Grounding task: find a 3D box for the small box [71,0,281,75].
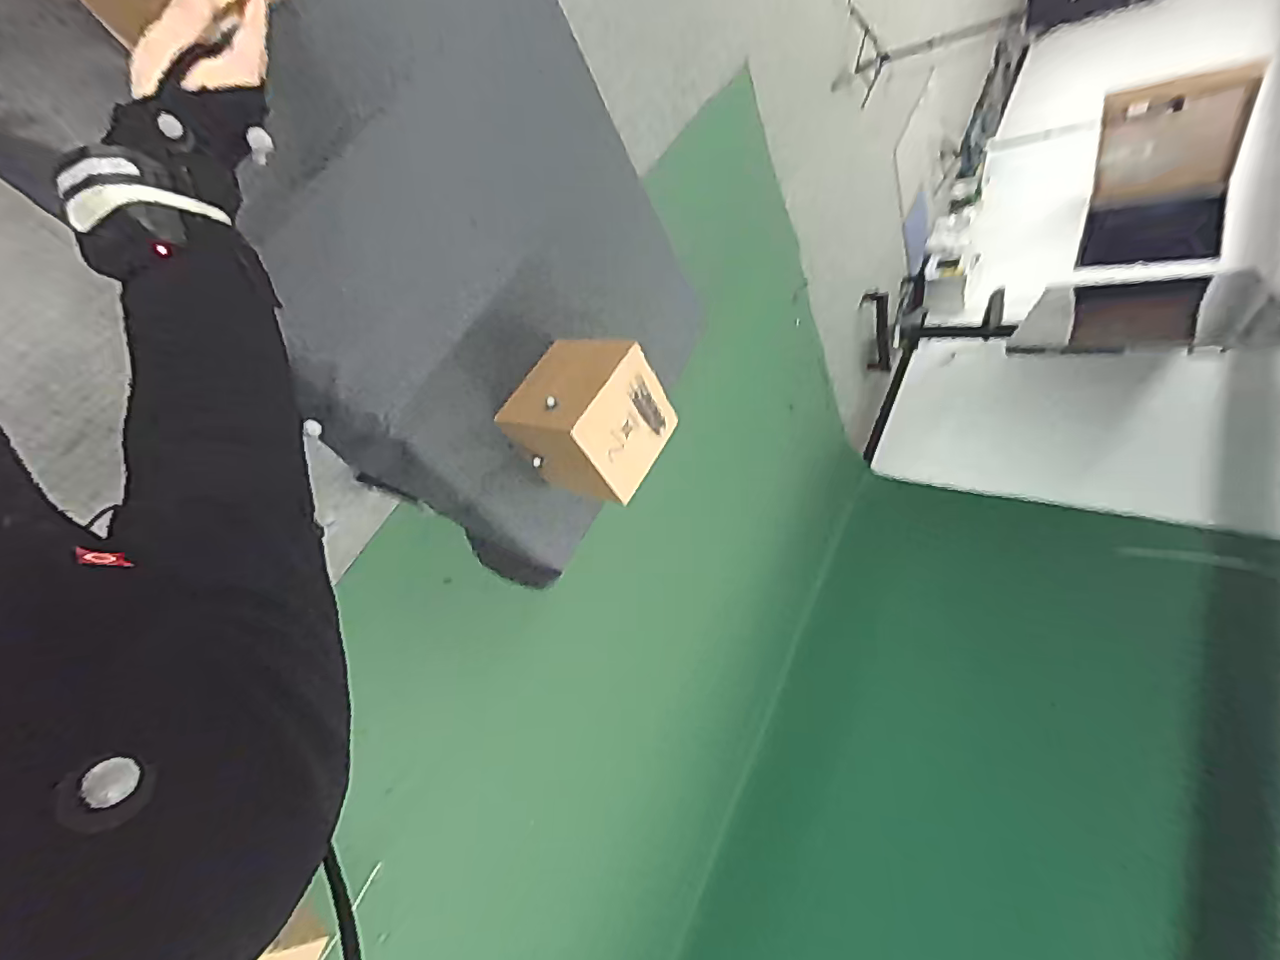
[{"bbox_3d":[-0.357,-0.441,0.385,0.168,0.176,0.179,-59,140,-22],"label":"small box"}]
